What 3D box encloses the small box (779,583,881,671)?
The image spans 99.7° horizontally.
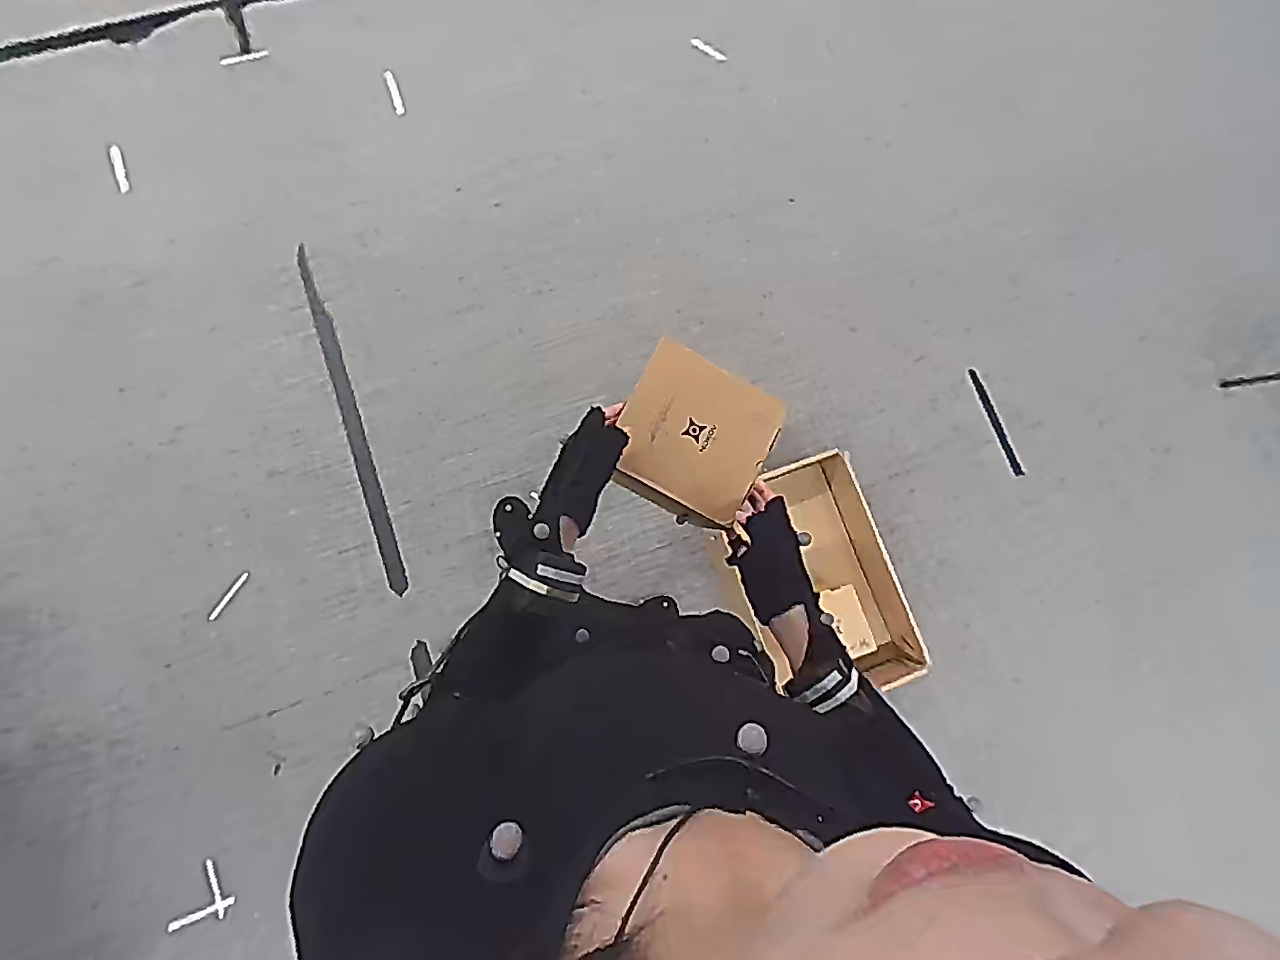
[{"bbox_3d":[0.489,0.379,1.422,0.168,0.176,0.179,-19,82,-6],"label":"small box"}]
